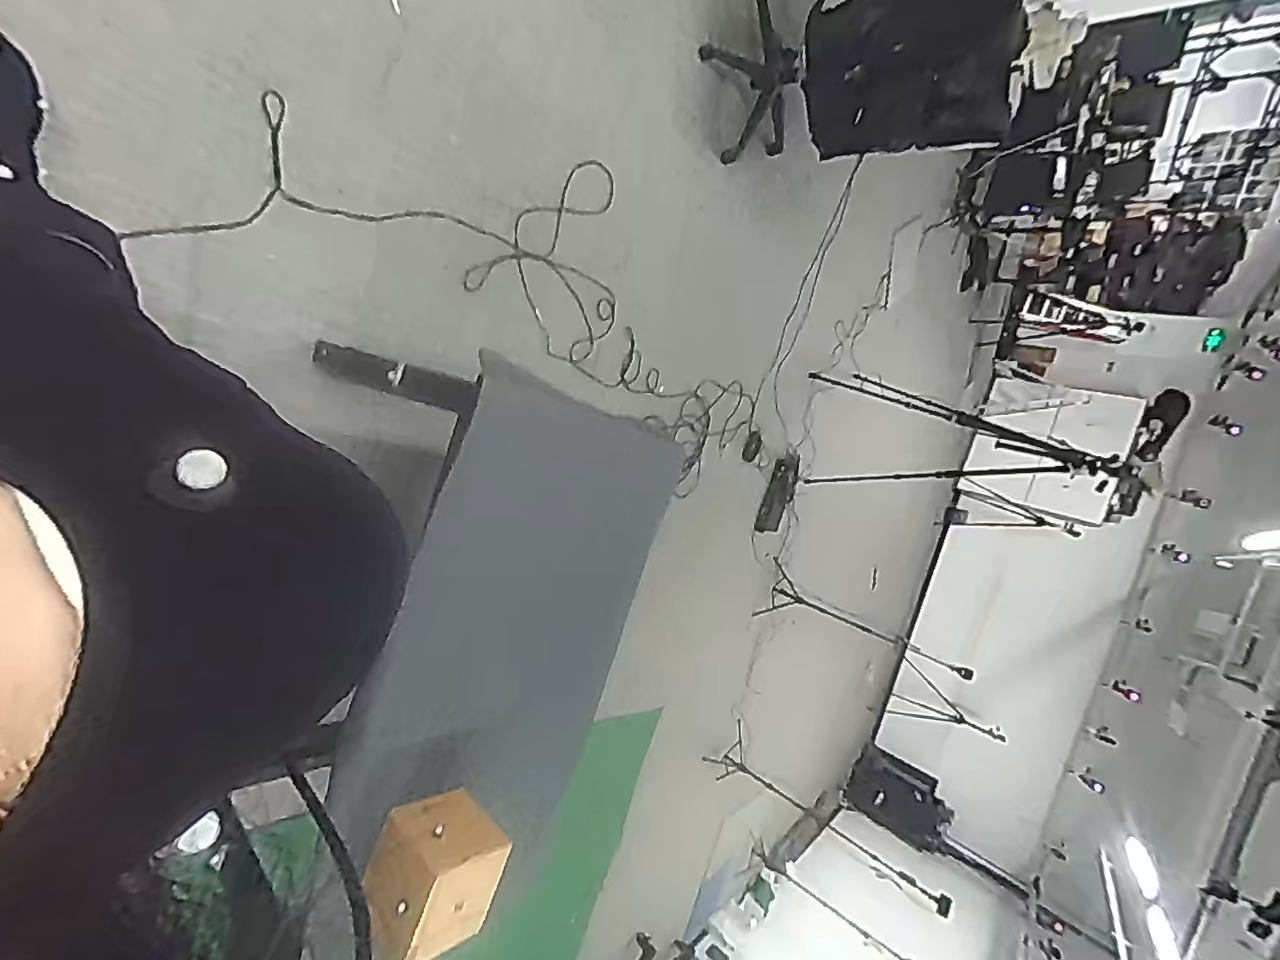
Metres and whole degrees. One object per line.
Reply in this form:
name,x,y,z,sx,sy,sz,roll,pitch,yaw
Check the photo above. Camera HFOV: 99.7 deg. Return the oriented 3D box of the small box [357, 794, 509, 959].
small box,-0.373,0.697,0.968,0.168,0.176,0.179,21,90,-53
